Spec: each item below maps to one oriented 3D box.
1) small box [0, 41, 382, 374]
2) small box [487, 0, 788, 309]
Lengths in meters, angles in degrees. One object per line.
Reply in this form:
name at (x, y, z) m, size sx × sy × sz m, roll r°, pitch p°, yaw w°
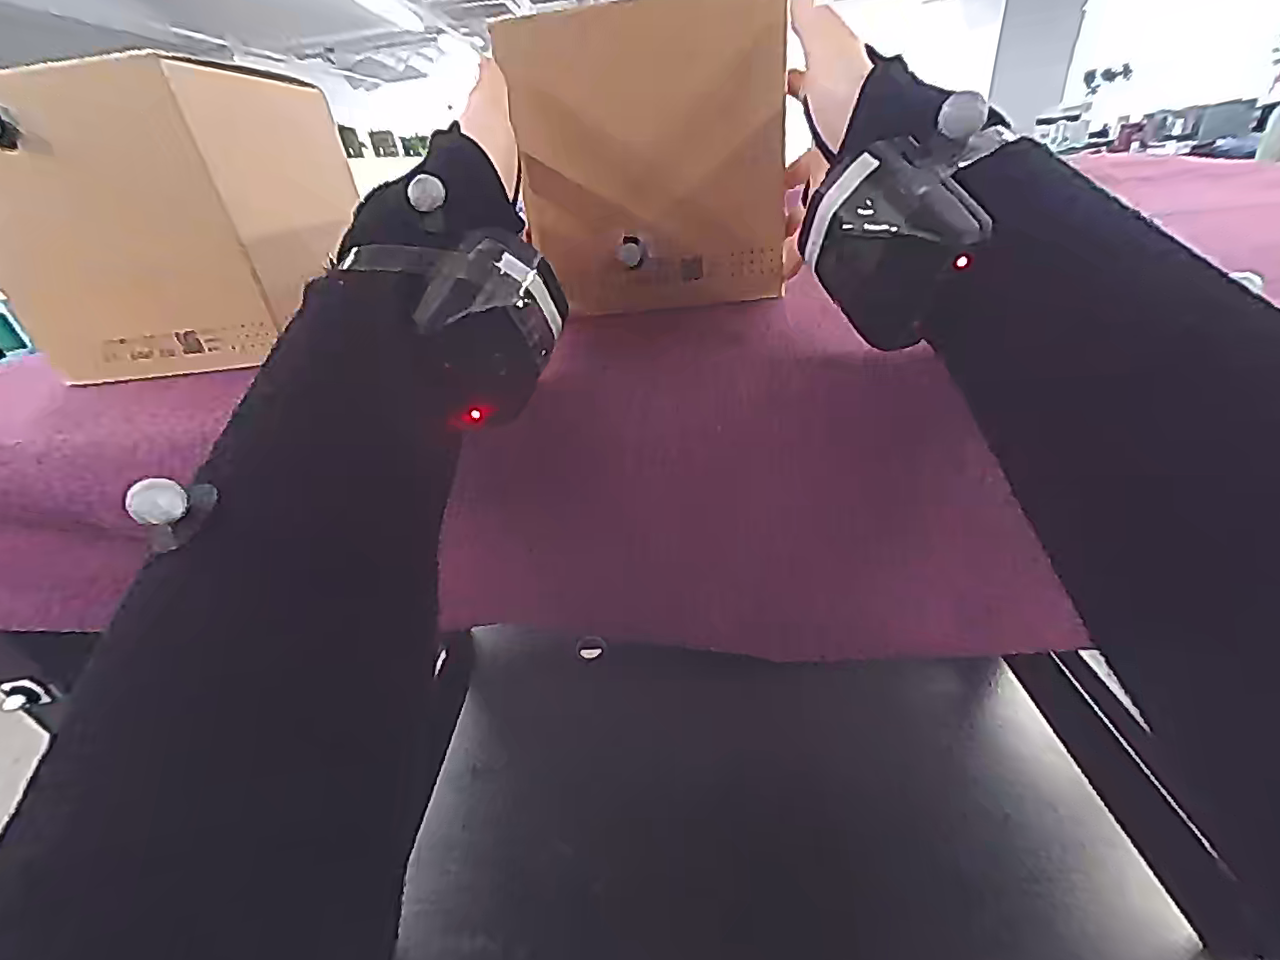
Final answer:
small box at (-0.316, -0.187, 0.392) m, size 0.168 × 0.176 × 0.179 m, roll -6°, pitch 30°, yaw 4°
small box at (0.009, -0.233, 0.398) m, size 0.168 × 0.176 × 0.179 m, roll -5°, pitch 31°, yaw 6°
